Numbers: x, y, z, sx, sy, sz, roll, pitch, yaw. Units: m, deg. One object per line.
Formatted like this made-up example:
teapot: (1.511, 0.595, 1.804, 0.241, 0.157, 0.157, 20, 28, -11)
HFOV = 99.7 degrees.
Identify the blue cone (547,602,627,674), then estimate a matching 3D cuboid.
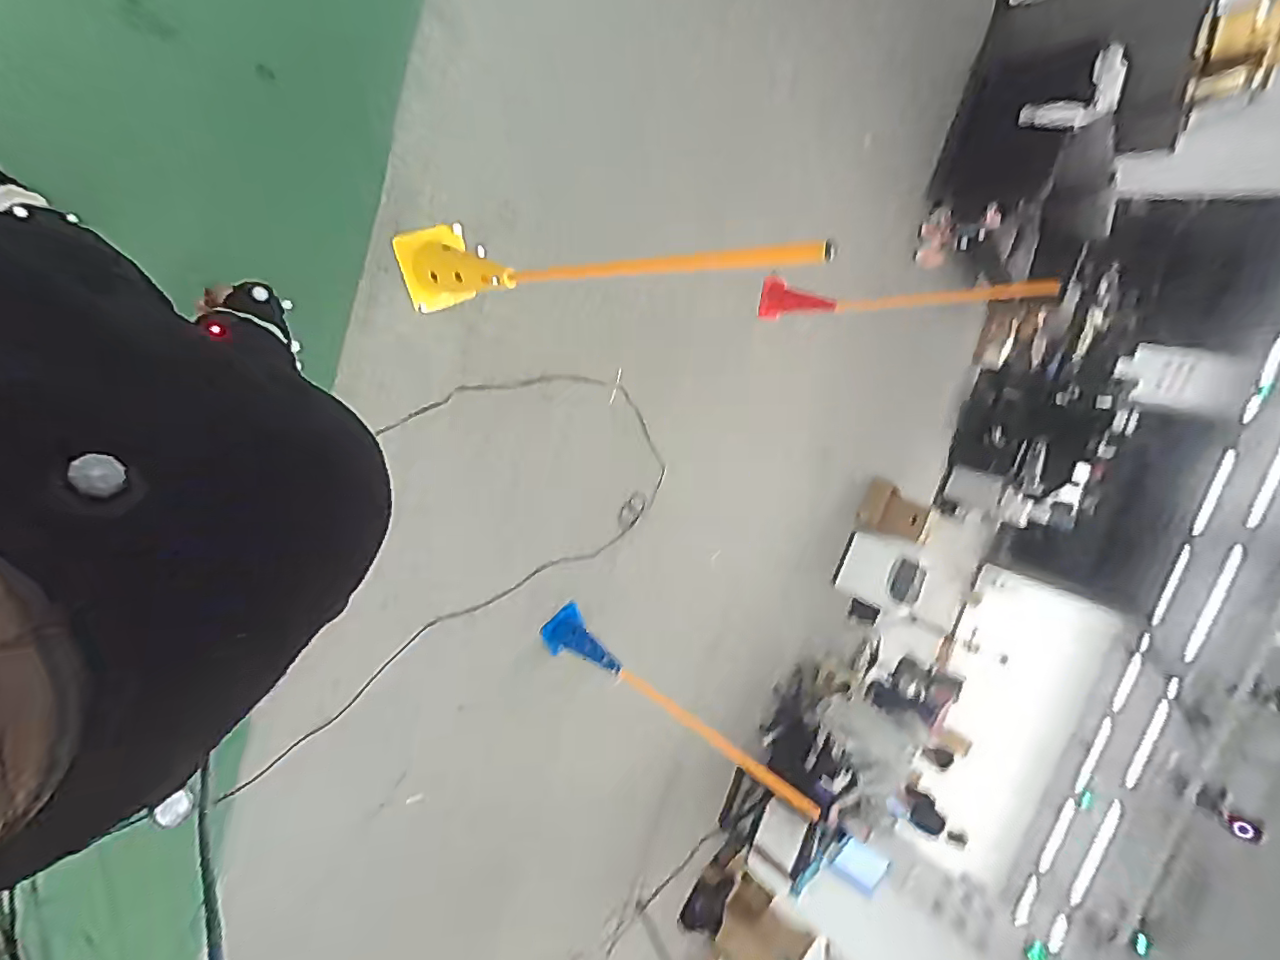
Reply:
blue cone: (-0.194, 0.689, 2.267, 0.192, 0.380, 0.193, -43, 138, -28)
